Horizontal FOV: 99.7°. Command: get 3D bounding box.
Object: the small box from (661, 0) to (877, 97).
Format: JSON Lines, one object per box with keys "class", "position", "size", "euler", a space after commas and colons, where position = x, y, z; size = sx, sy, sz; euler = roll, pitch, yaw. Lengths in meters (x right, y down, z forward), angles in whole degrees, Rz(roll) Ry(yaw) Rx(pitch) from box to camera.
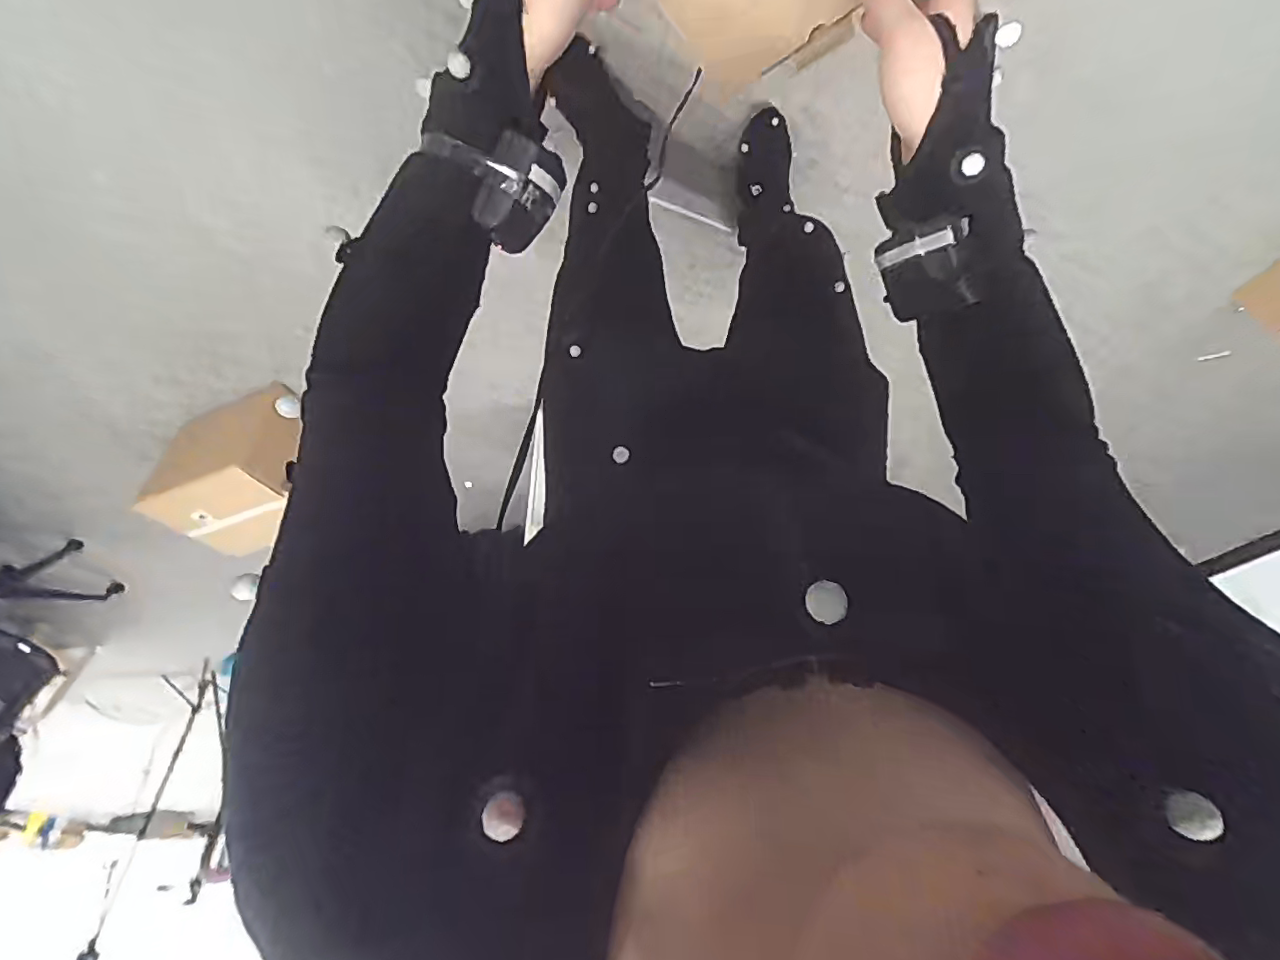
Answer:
{"class": "small box", "position": [0.087, -0.430, 0.365], "size": [0.168, 0.176, 0.179], "euler": [-12, 155, 39]}
